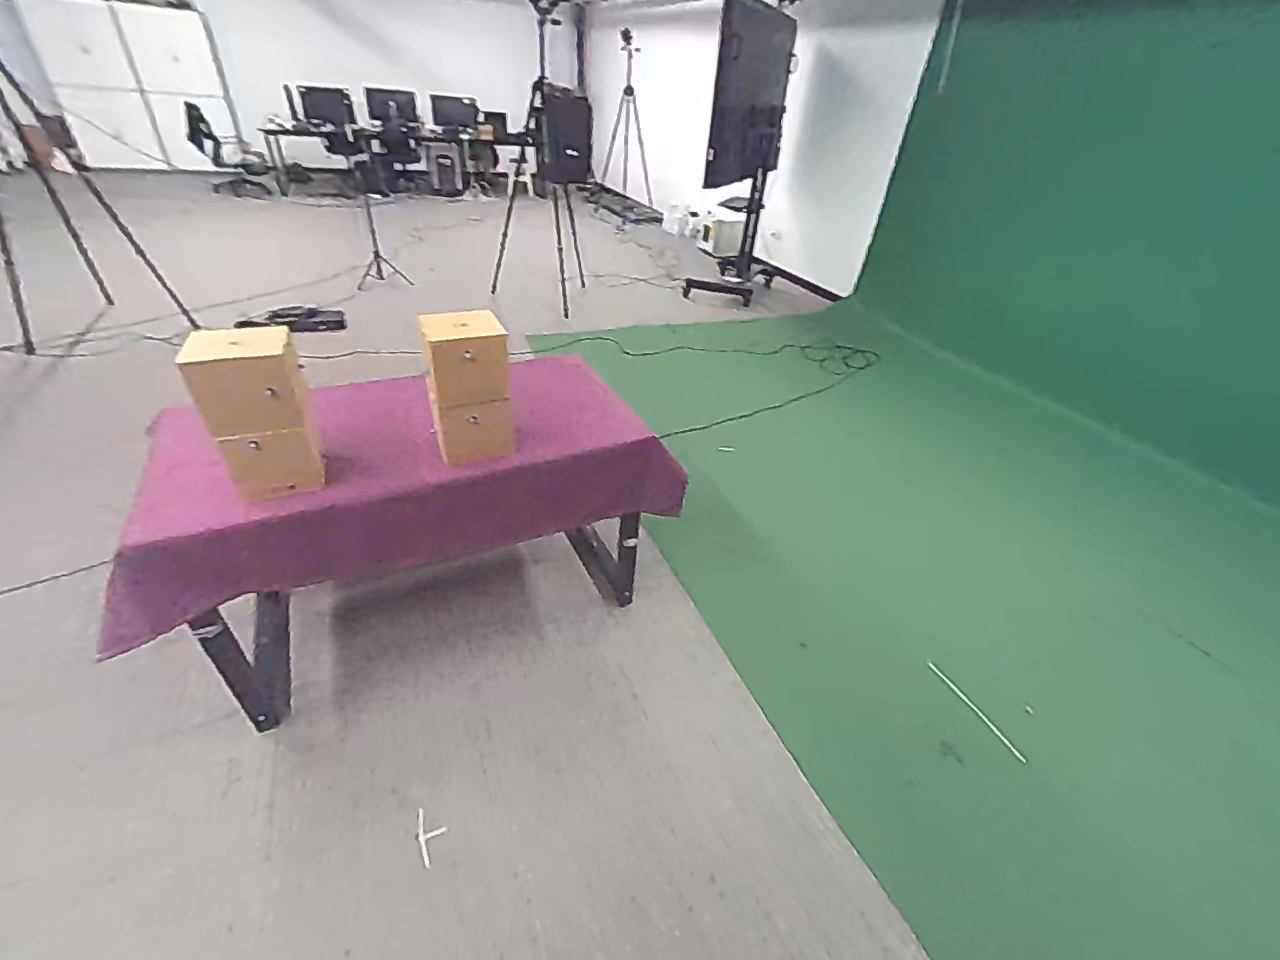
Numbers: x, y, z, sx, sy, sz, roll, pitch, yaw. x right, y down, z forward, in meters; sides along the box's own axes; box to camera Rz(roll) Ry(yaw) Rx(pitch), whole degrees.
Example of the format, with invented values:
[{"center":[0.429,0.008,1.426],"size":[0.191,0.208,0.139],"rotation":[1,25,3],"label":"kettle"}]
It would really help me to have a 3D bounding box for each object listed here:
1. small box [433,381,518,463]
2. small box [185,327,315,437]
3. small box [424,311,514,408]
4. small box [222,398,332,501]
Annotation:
[{"center":[-0.426,-0.161,1.405],"size":[0.179,0.176,0.168],"rotation":[-12,40,-23],"label":"small box"},{"center":[-0.808,-0.208,1.145],"size":[0.179,0.176,0.168],"rotation":[-11,39,-21],"label":"small box"},{"center":[-0.411,-0.292,1.311],"size":[0.179,0.176,0.168],"rotation":[-14,40,-22],"label":"small box"},{"center":[-0.821,-0.076,1.241],"size":[0.168,0.176,0.179],"rotation":[-12,39,-21],"label":"small box"}]
